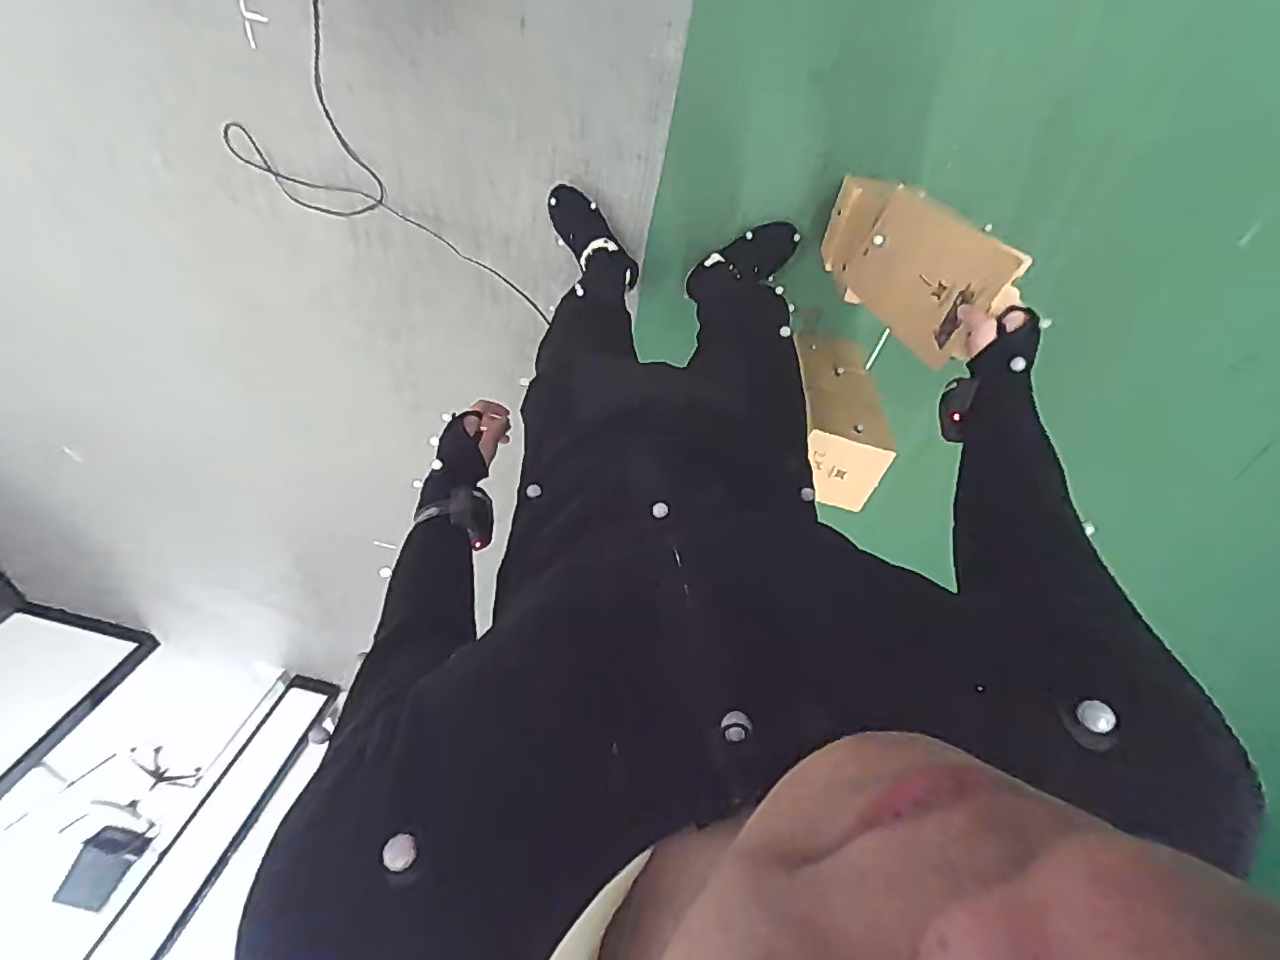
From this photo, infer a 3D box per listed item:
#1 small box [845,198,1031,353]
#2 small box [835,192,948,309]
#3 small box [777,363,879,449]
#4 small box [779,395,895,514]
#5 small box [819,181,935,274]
[{"bbox_3d":[0.483,-0.344,0.904,0.179,0.176,0.168,14,128,-18],"label":"small box"},{"bbox_3d":[0.497,-0.442,1.061,0.168,0.176,0.179,13,128,1],"label":"small box"},{"bbox_3d":[0.439,-0.158,1.291,0.179,0.176,0.168,17,130,2],"label":"small box"},{"bbox_3d":[0.411,-0.060,1.161,0.179,0.176,0.168,18,129,1],"label":"small box"},{"bbox_3d":[0.509,-0.543,1.187,0.179,0.176,0.168,13,128,2],"label":"small box"}]
